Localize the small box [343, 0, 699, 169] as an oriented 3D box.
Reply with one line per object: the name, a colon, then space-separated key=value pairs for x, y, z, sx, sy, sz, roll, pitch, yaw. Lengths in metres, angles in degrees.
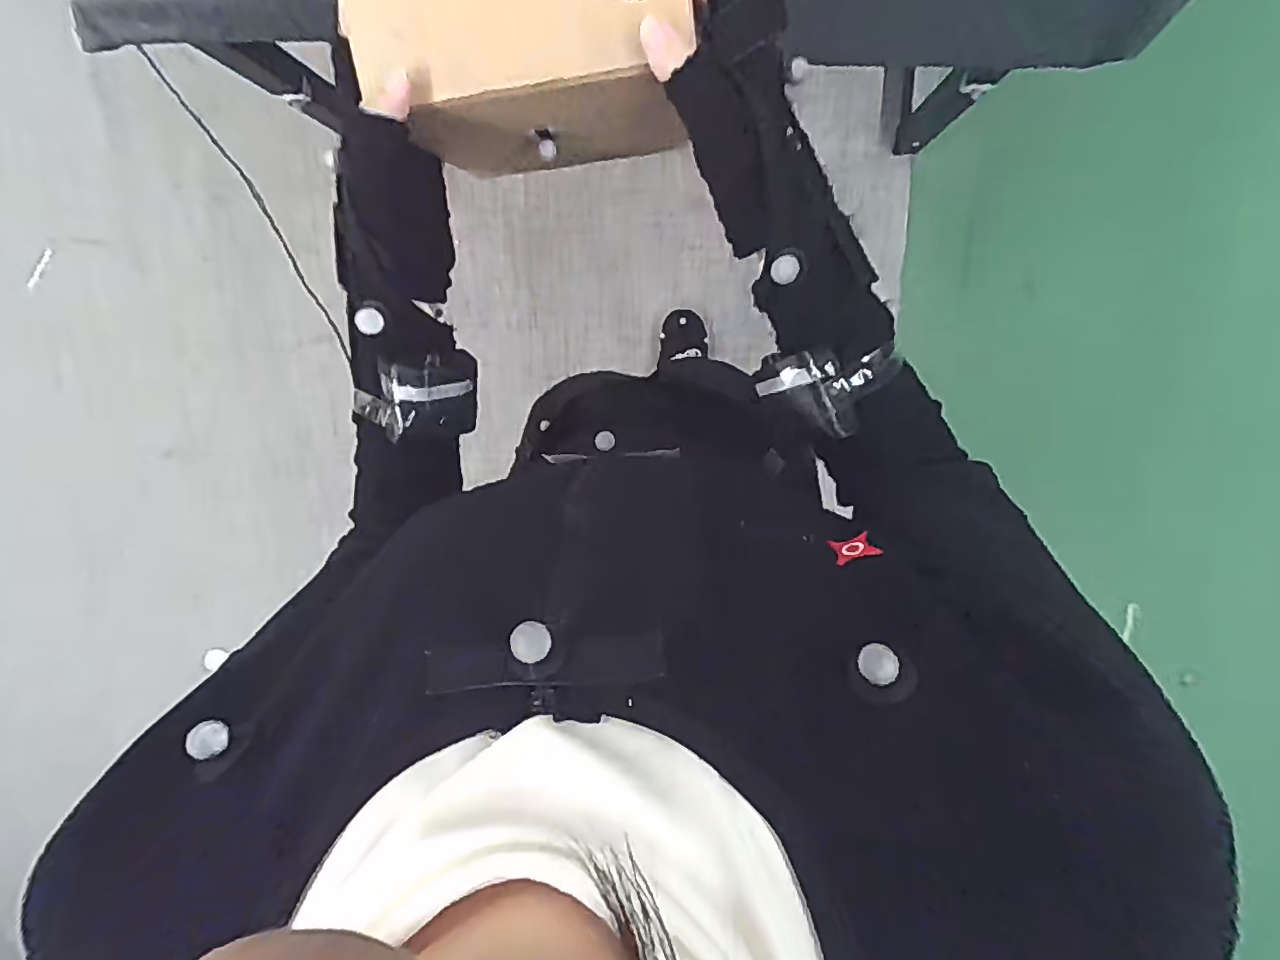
small box: x=-0.061 y=-0.305 z=0.324 sx=0.179 sy=0.176 sz=0.168 roll=-5 pitch=108 yaw=7
